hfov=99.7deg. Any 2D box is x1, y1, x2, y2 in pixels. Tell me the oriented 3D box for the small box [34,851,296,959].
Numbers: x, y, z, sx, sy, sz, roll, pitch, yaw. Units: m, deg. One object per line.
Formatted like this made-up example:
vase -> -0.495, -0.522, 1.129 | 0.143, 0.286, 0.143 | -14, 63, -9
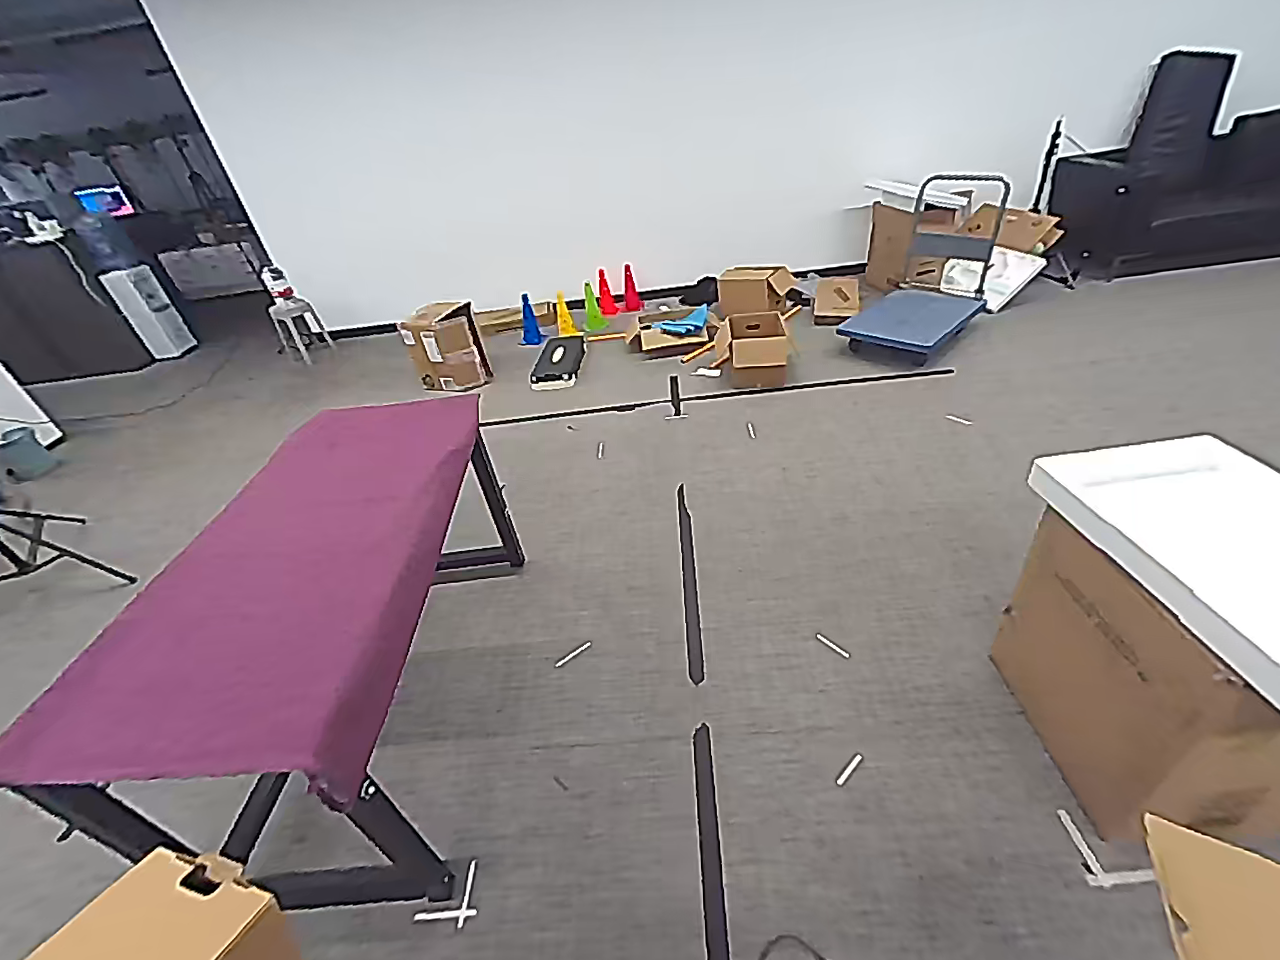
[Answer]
small box -> -0.429, 0.486, 0.474 | 0.168, 0.176, 0.179 | 4, 21, 19
